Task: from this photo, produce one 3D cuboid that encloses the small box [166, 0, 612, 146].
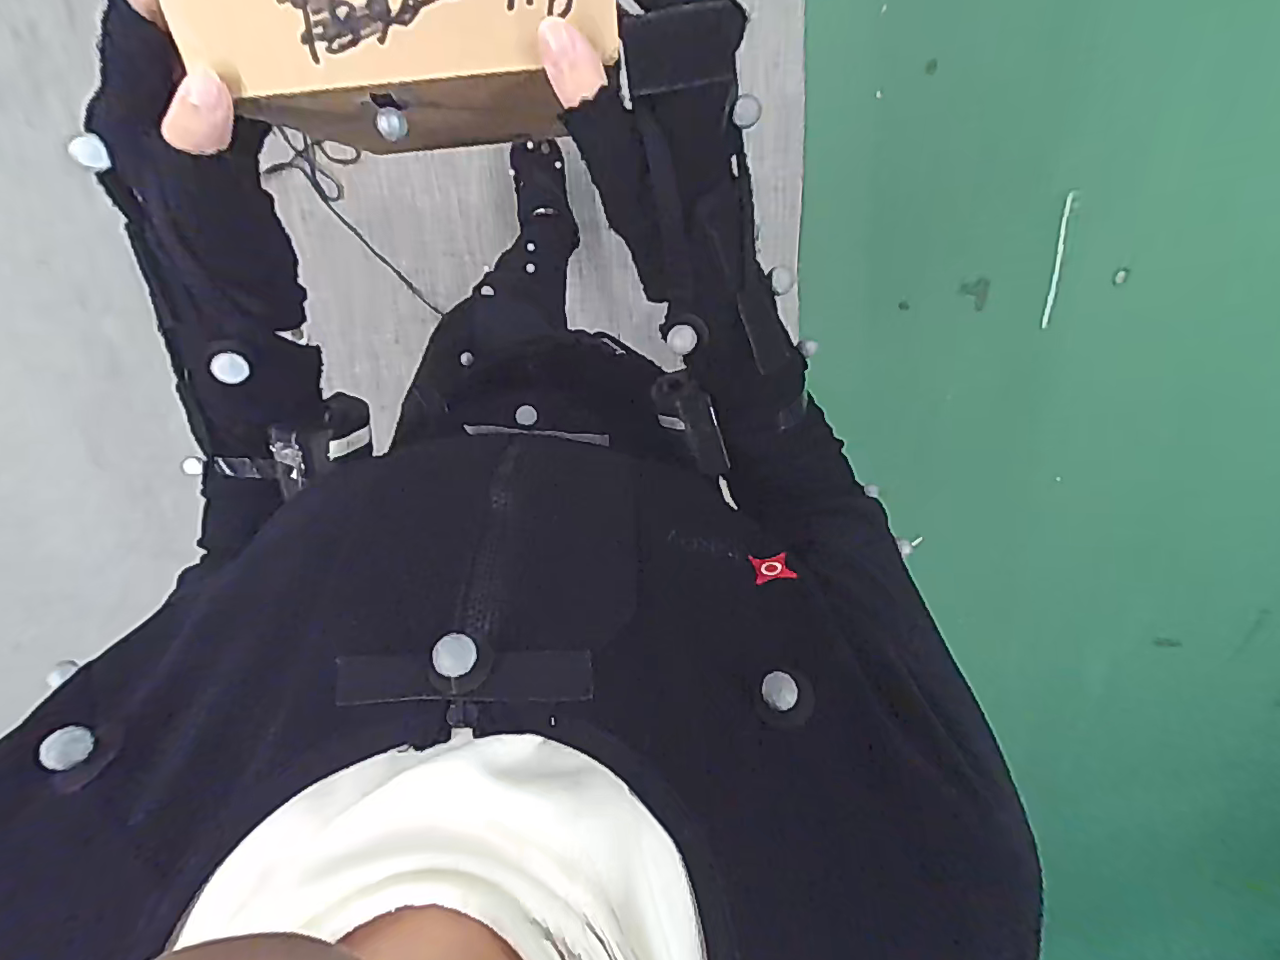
[{"bbox_3d":[-0.104,-0.275,0.251,0.168,0.176,0.179,-5,114,0],"label":"small box"}]
